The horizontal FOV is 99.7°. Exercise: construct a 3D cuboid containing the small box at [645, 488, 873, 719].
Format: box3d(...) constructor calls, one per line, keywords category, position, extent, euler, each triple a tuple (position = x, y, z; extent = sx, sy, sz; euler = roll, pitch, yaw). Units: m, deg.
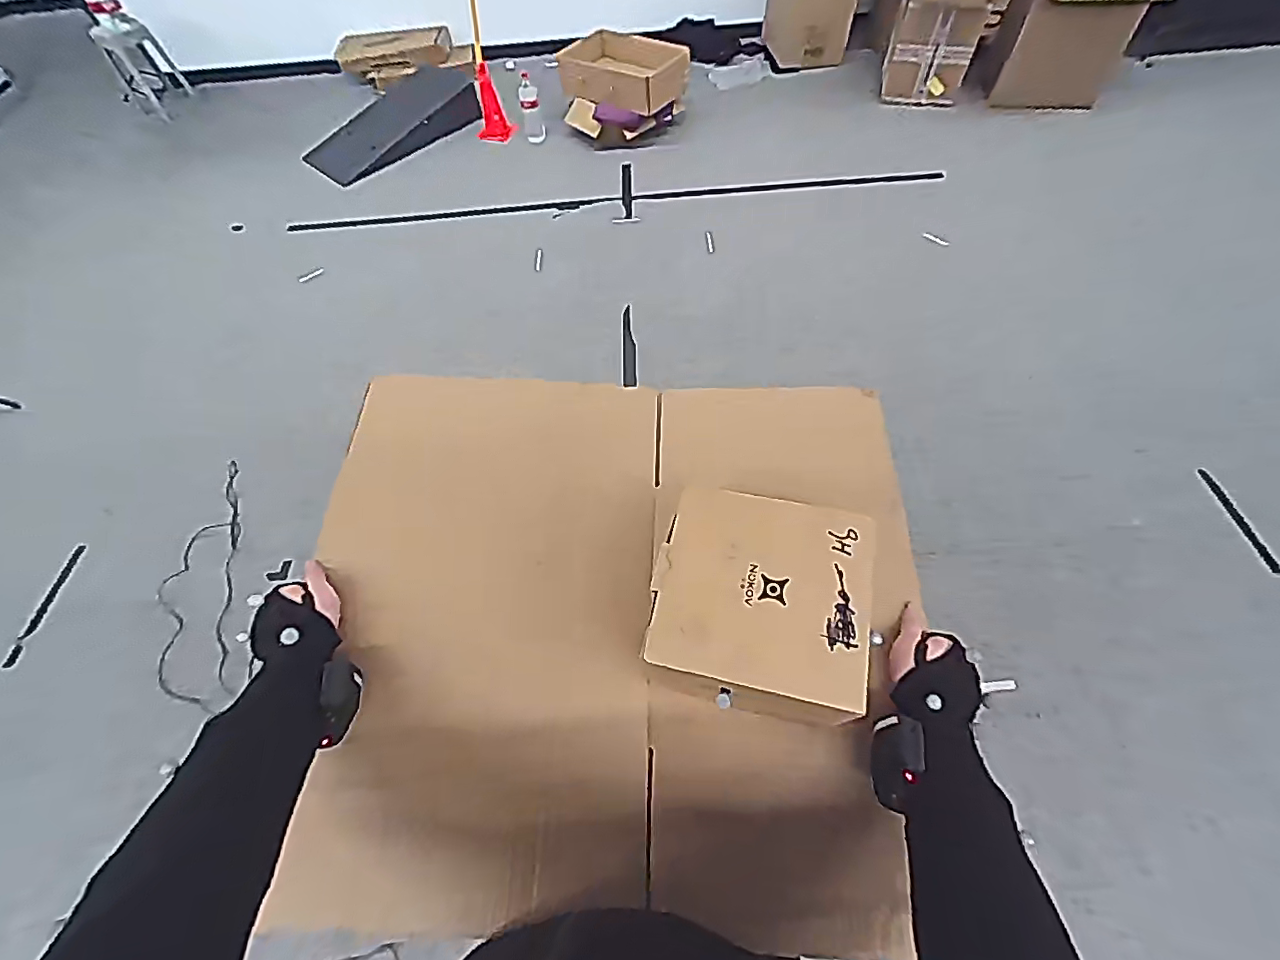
box3d(category="small box", position=(0.115, 0.128, 0.535), extent=(0.179, 0.176, 0.168), euler=(9, 63, 12))
